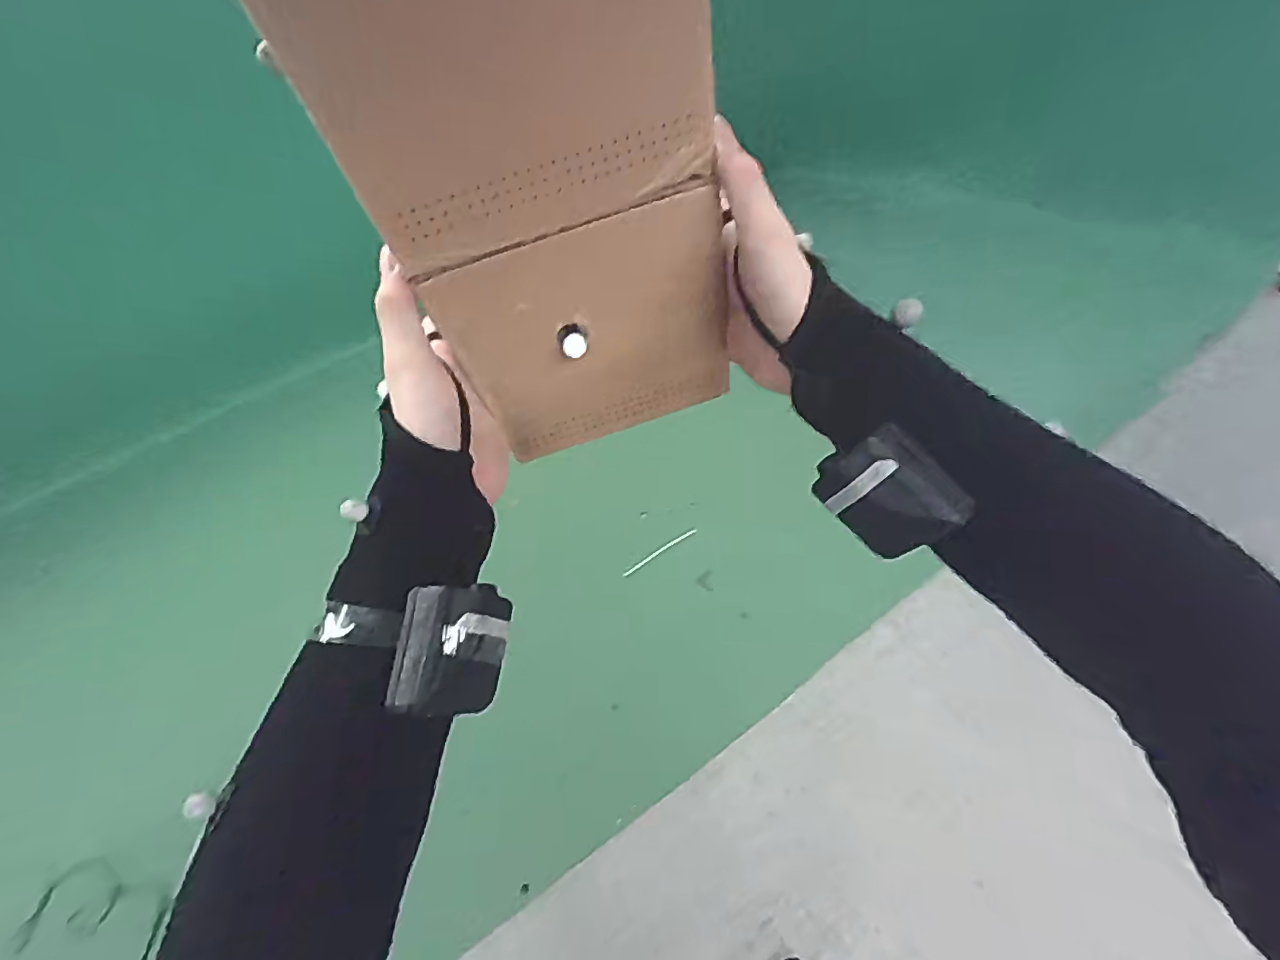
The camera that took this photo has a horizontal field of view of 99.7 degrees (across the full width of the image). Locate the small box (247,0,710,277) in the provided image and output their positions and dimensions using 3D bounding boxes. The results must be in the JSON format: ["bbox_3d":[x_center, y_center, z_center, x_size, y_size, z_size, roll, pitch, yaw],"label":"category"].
[{"bbox_3d":[-0.076,-0.233,0.271,0.179,0.176,0.168,-20,55,-1],"label":"small box"}]

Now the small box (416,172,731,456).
[{"bbox_3d":[-0.044,-0.143,0.403,0.179,0.176,0.168,-19,55,0],"label":"small box"}]
